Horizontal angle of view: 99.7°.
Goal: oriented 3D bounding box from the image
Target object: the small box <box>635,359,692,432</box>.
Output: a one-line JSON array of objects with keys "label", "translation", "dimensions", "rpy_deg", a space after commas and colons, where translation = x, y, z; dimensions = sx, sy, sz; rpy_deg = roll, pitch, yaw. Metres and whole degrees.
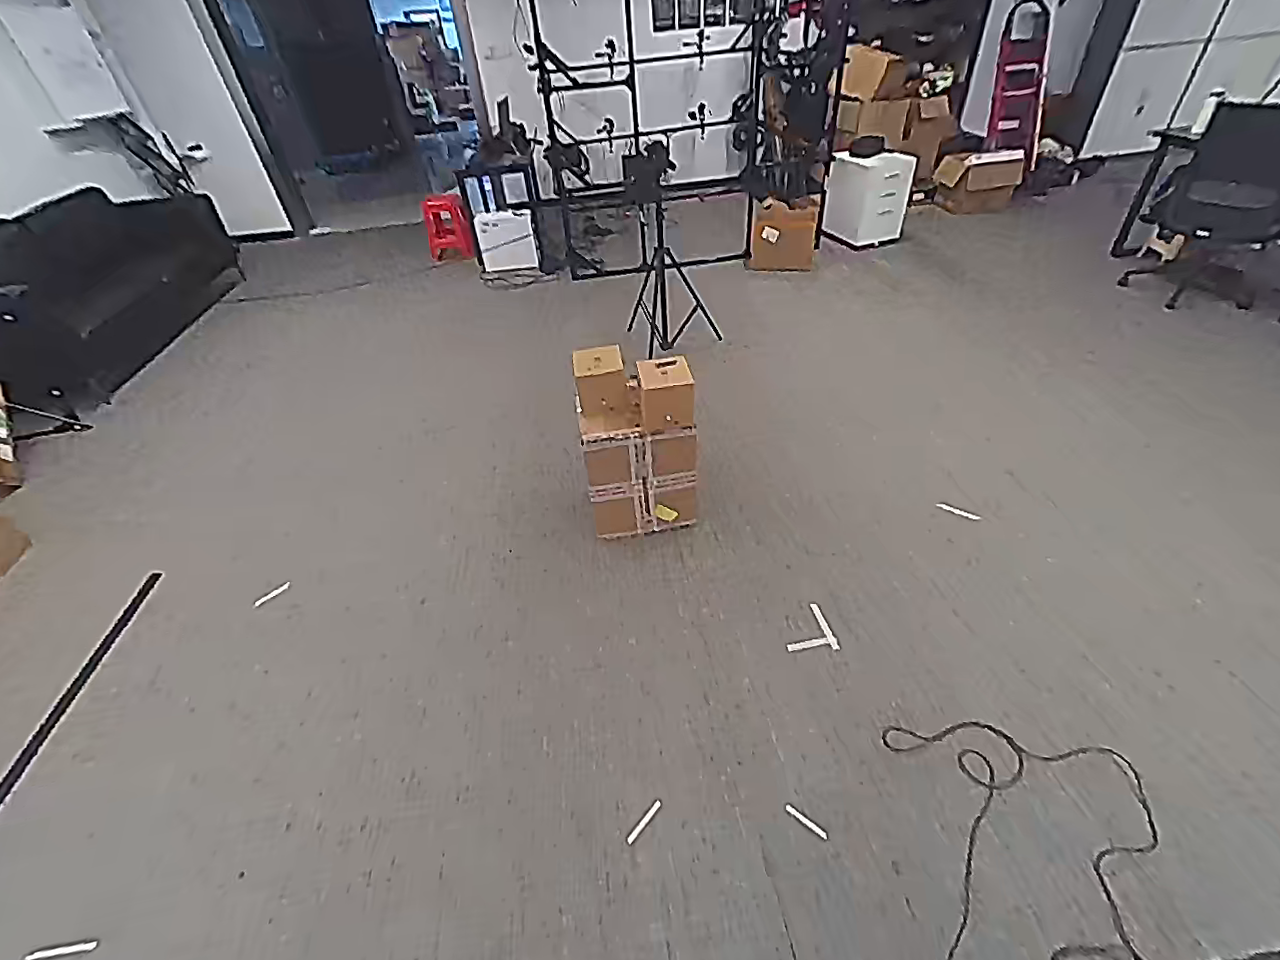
[{"label": "small box", "translation": [0.076, -0.283, 1.816], "dimensions": [0.168, 0.176, 0.179], "rpy_deg": [-8, 43, -4]}]

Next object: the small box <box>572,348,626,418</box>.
[{"label": "small box", "translation": [-0.144, -0.341, 1.901], "dimensions": [0.168, 0.176, 0.179], "rpy_deg": [-9, 42, -2]}]
